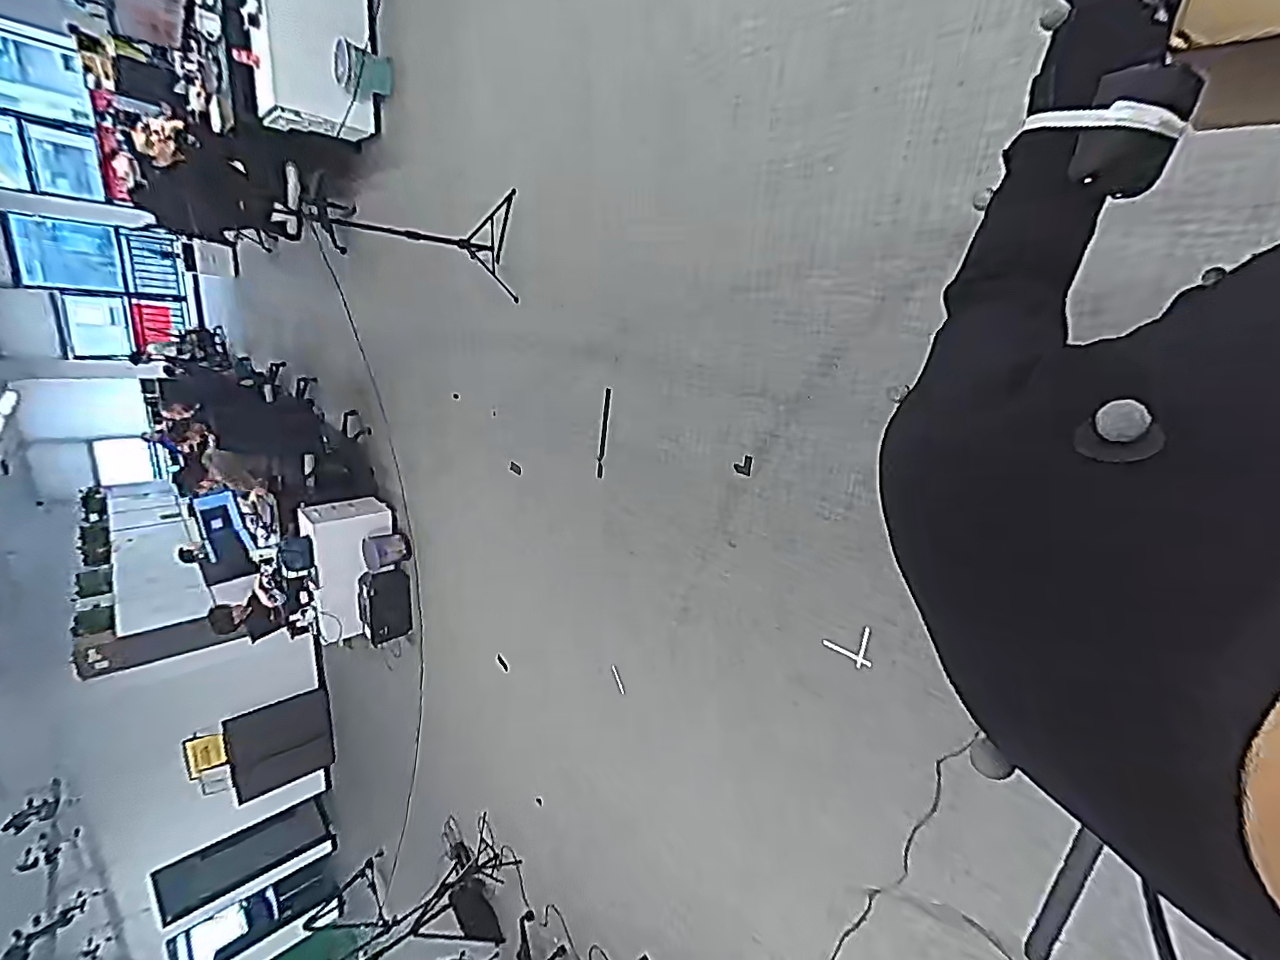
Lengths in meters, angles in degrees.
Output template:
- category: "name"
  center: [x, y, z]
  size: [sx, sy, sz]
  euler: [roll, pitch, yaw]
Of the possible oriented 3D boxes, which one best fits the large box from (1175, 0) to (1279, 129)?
- category: "large box"
  center: [0.591, -0.403, 0.265]
  size: [0.408, 0.320, 0.320]
  euler: [22, 121, 41]
